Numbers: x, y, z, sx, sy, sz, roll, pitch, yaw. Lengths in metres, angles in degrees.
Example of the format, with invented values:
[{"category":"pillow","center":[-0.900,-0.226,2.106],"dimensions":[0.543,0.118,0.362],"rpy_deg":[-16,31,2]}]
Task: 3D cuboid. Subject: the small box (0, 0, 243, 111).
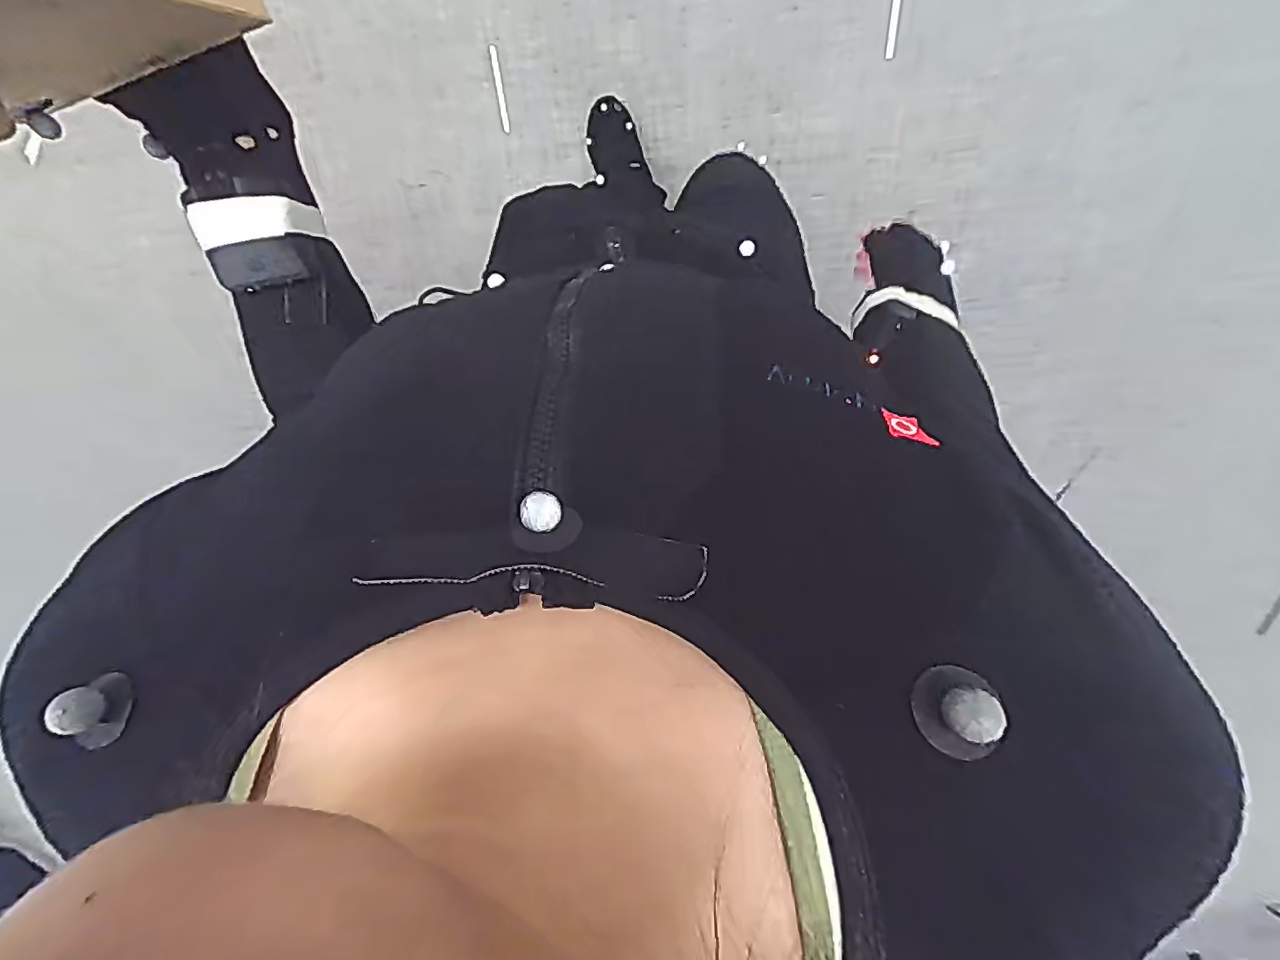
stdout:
[{"category":"small box","center":[-0.301,-0.248,0.190],"dimensions":[0.168,0.176,0.179],"rpy_deg":[-16,124,6]}]
